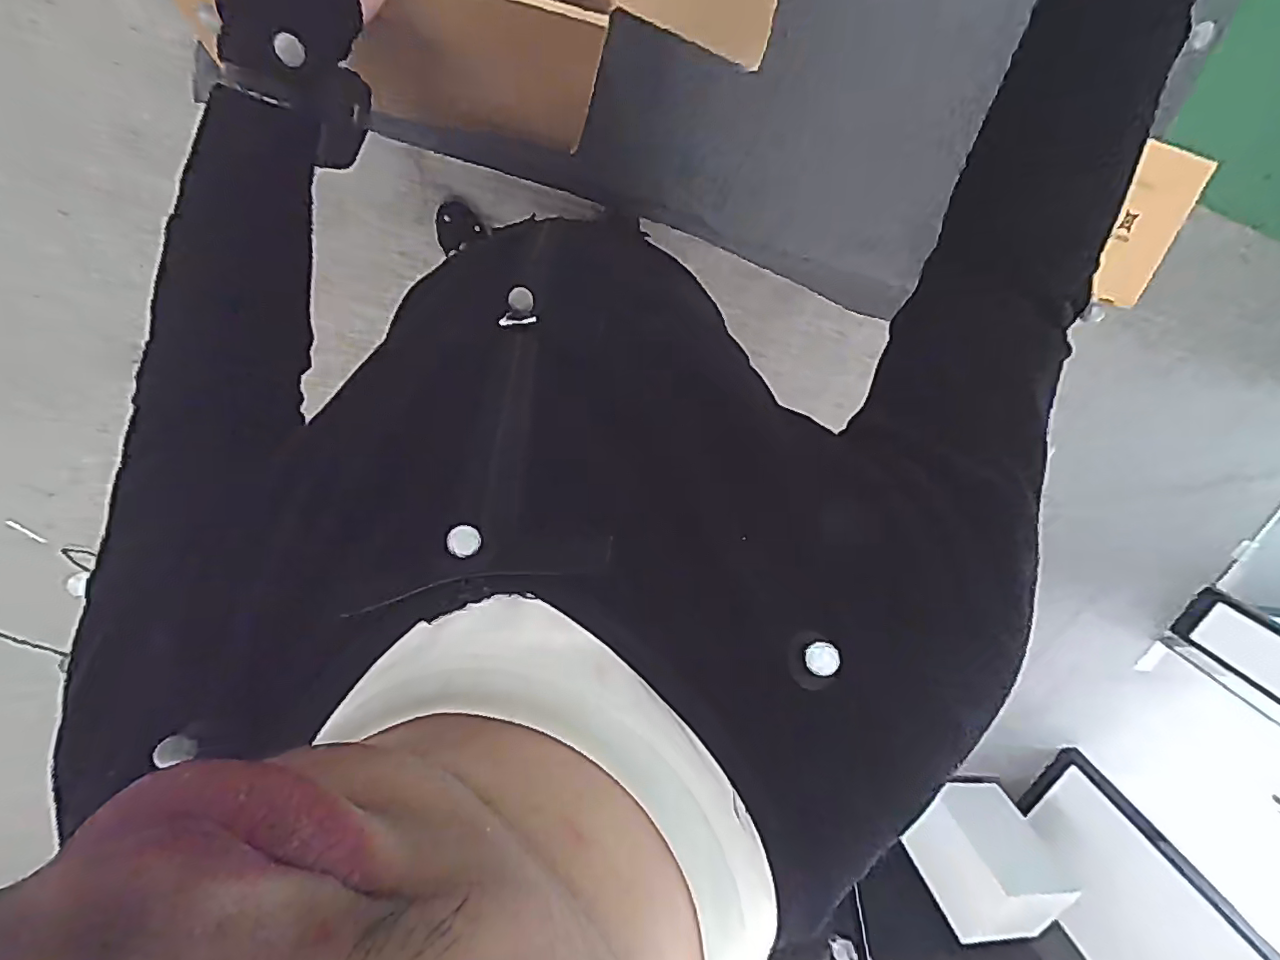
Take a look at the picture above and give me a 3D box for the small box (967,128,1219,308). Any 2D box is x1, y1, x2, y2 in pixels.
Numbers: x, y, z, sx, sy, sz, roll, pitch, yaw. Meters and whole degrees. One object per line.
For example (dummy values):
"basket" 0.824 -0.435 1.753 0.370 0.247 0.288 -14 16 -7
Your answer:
"small box" 0.596 -0.353 0.743 0.168 0.176 0.179 6 115 -15
